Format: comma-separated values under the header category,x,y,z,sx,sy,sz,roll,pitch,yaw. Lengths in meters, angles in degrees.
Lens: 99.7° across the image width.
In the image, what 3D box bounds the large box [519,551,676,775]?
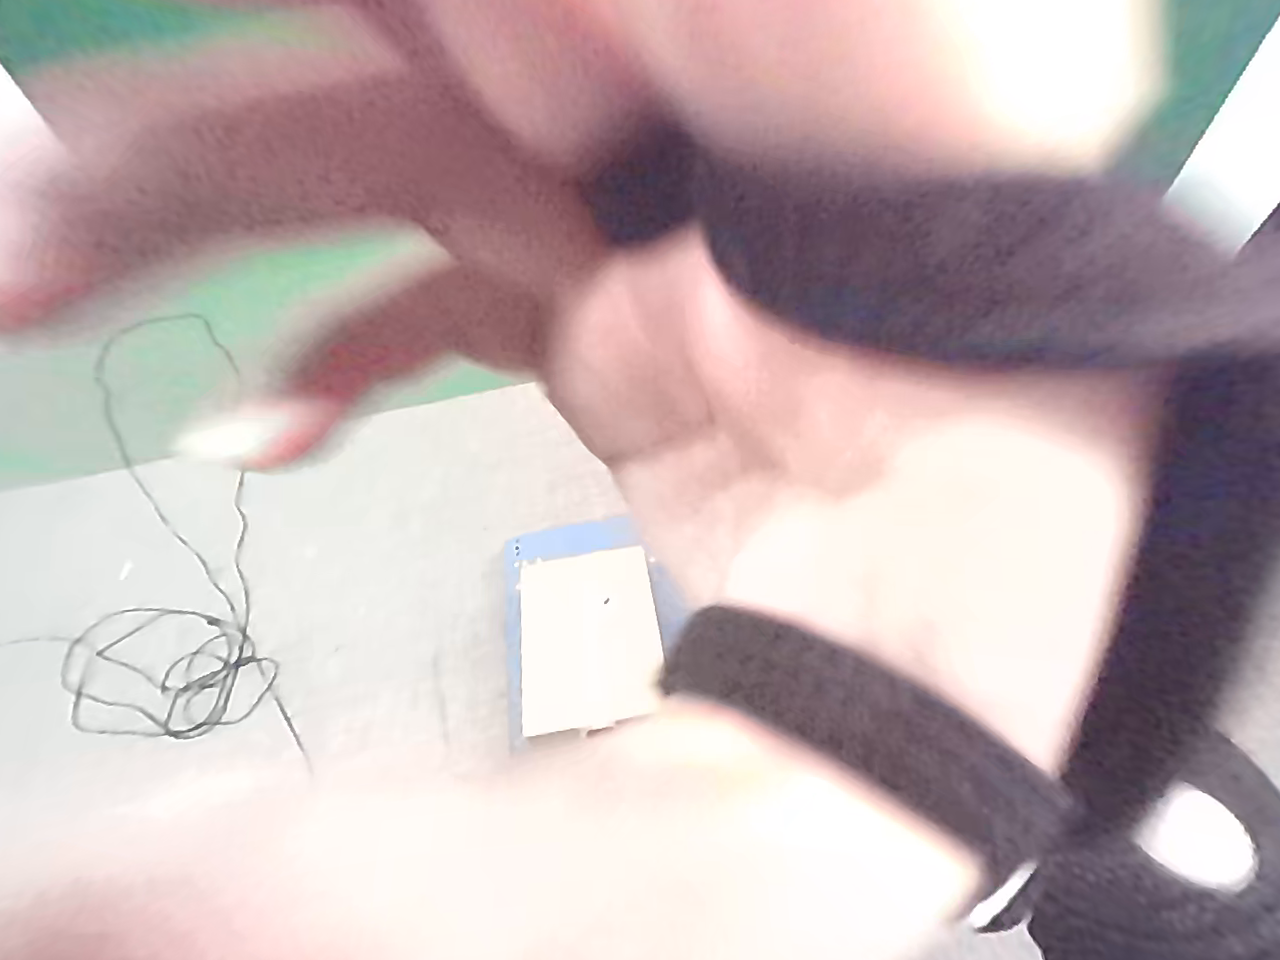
category,x,y,z,sx,sy,sz,roll,pitch,yaw
large box,-0.105,0.445,1.325,0.320,0.320,0.408,-9,49,-3
